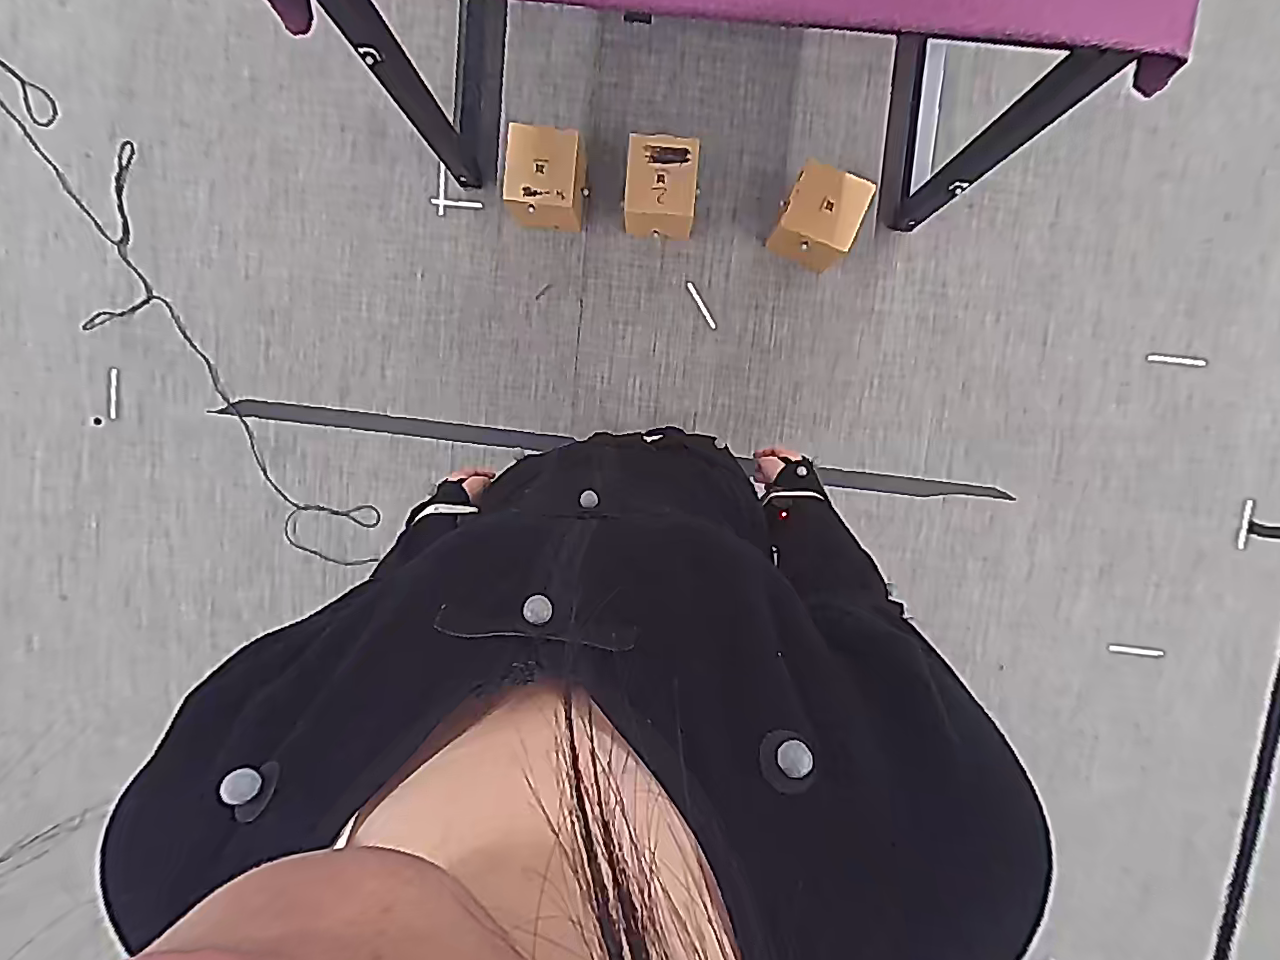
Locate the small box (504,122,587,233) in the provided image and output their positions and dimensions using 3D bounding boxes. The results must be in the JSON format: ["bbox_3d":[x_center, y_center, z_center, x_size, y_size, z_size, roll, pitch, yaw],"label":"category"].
[{"bbox_3d":[-0.226,-0.739,1.336,0.168,0.176,0.179,8,94,0],"label":"small box"}]

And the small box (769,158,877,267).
[{"bbox_3d":[0.441,-0.647,1.335,0.179,0.176,0.168,23,96,0],"label":"small box"}]
